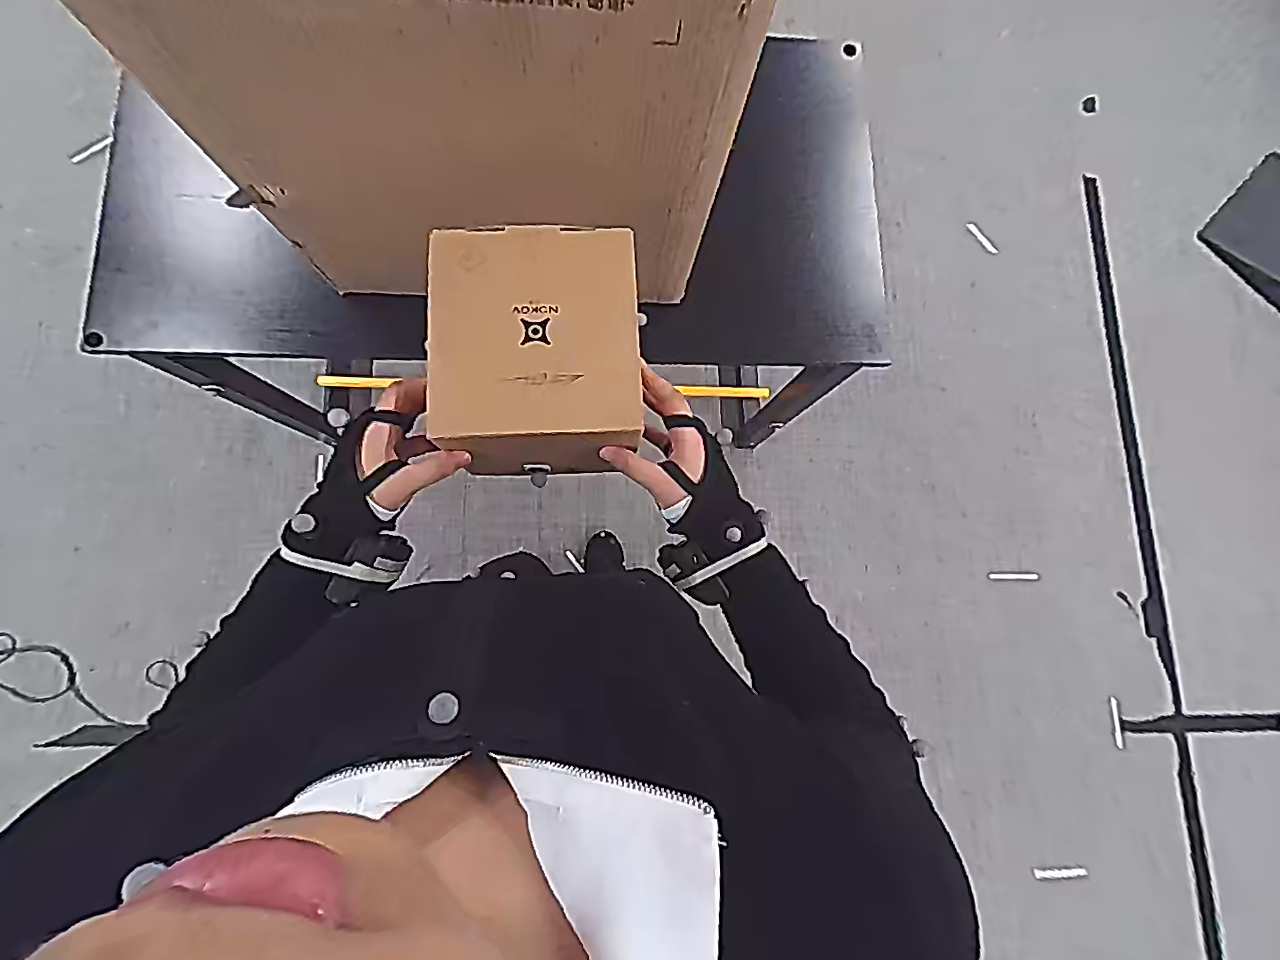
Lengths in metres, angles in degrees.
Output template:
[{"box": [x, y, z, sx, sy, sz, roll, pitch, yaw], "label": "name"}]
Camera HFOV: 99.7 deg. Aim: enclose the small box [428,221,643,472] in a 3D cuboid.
[{"box": [-0.089, -0.112, 0.506, 0.168, 0.176, 0.179, -3, 79, -5], "label": "small box"}]
